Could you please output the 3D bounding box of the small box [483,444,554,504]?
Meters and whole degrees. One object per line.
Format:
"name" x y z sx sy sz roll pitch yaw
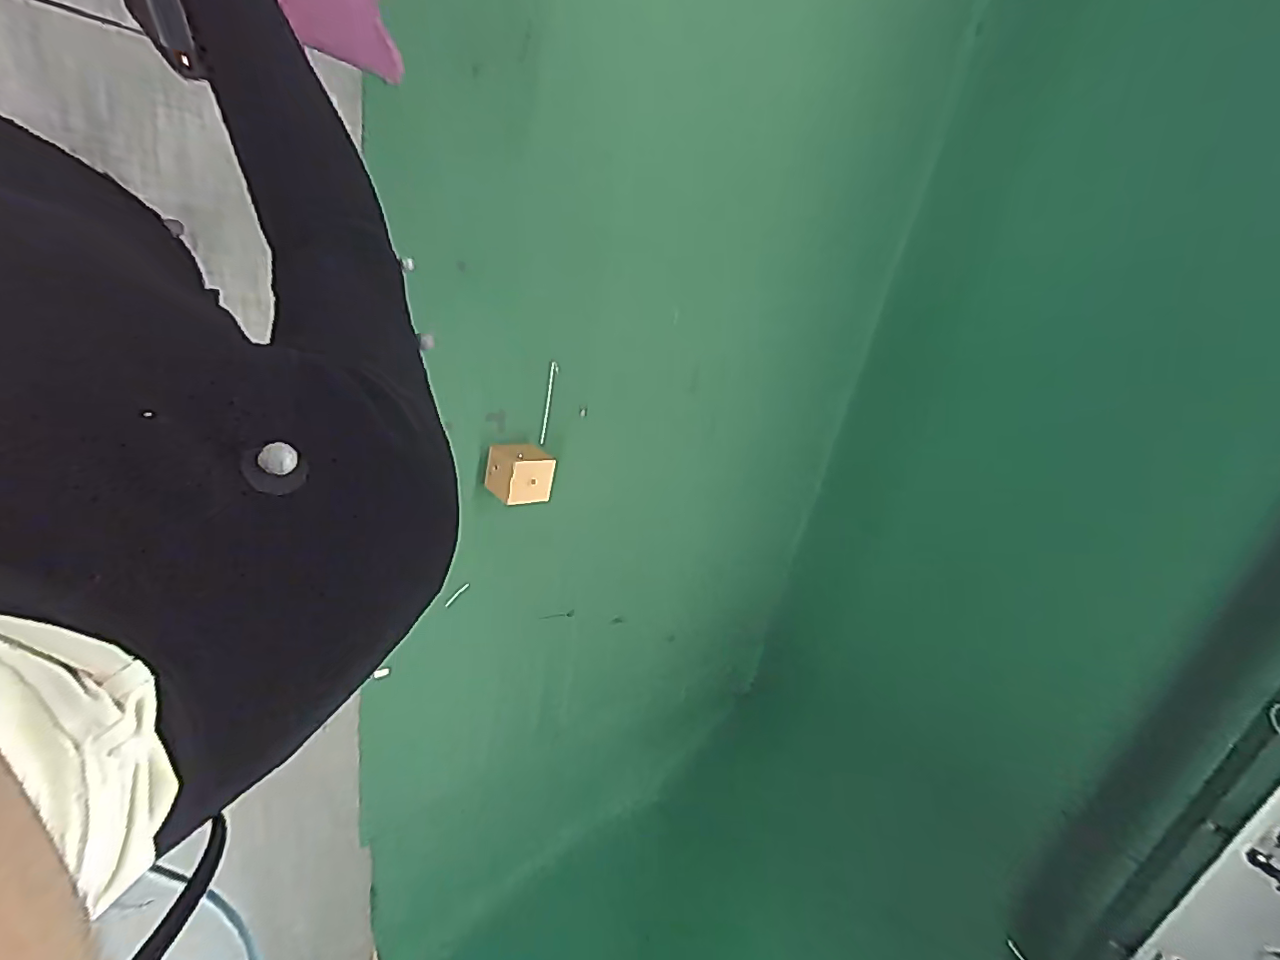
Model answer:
"small box" -0.445 -0.028 1.964 0.179 0.176 0.168 -5 117 -44
